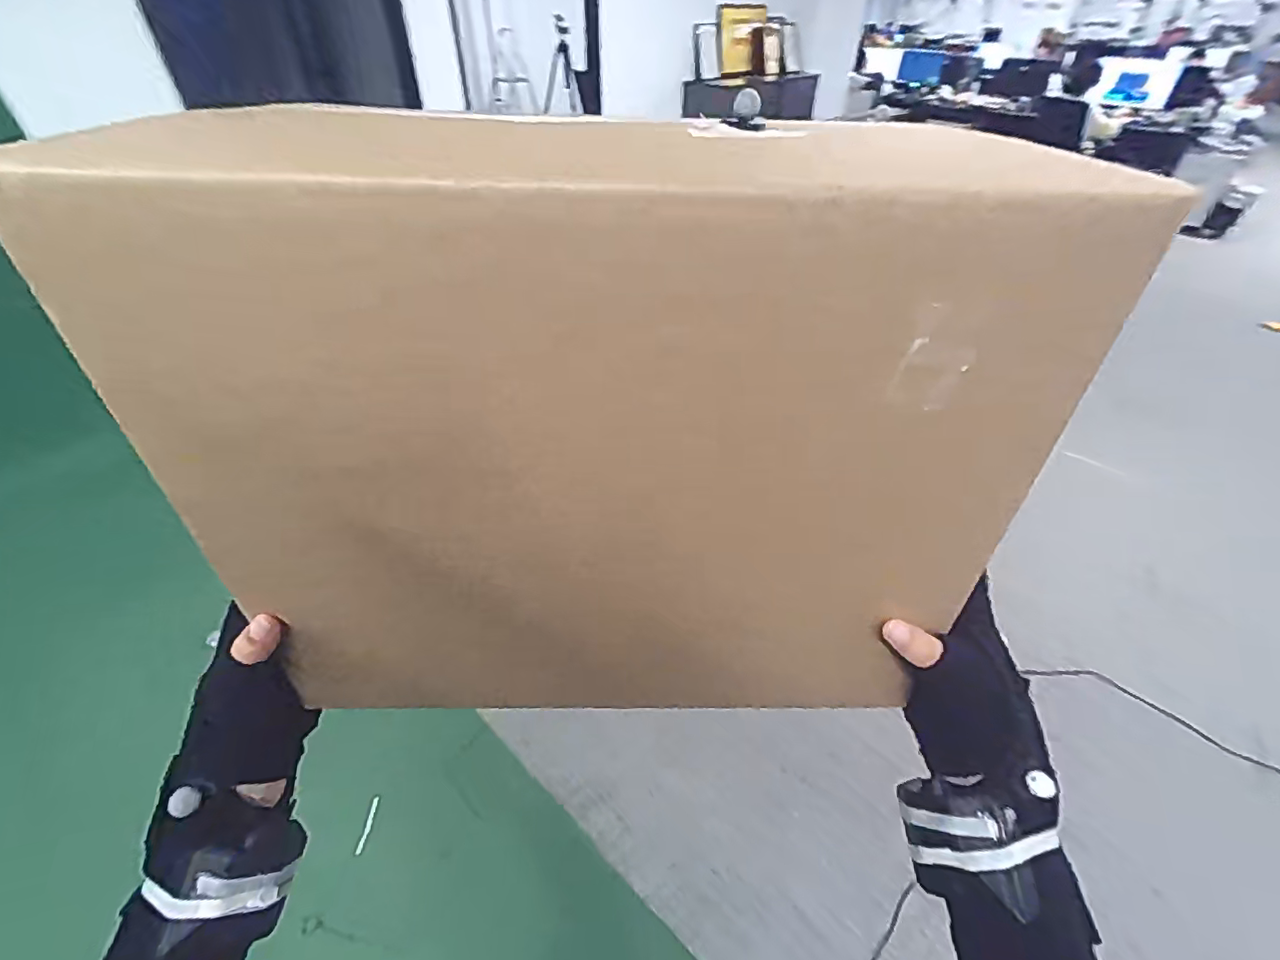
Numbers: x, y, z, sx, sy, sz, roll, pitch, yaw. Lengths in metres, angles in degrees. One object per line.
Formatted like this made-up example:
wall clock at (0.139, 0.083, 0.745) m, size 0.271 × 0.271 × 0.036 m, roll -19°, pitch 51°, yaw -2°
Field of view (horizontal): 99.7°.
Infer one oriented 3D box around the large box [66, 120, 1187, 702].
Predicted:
large box at (-0.006, -0.060, 0.394) m, size 0.408 × 0.320 × 0.320 m, roll 2°, pitch 37°, yaw -3°
